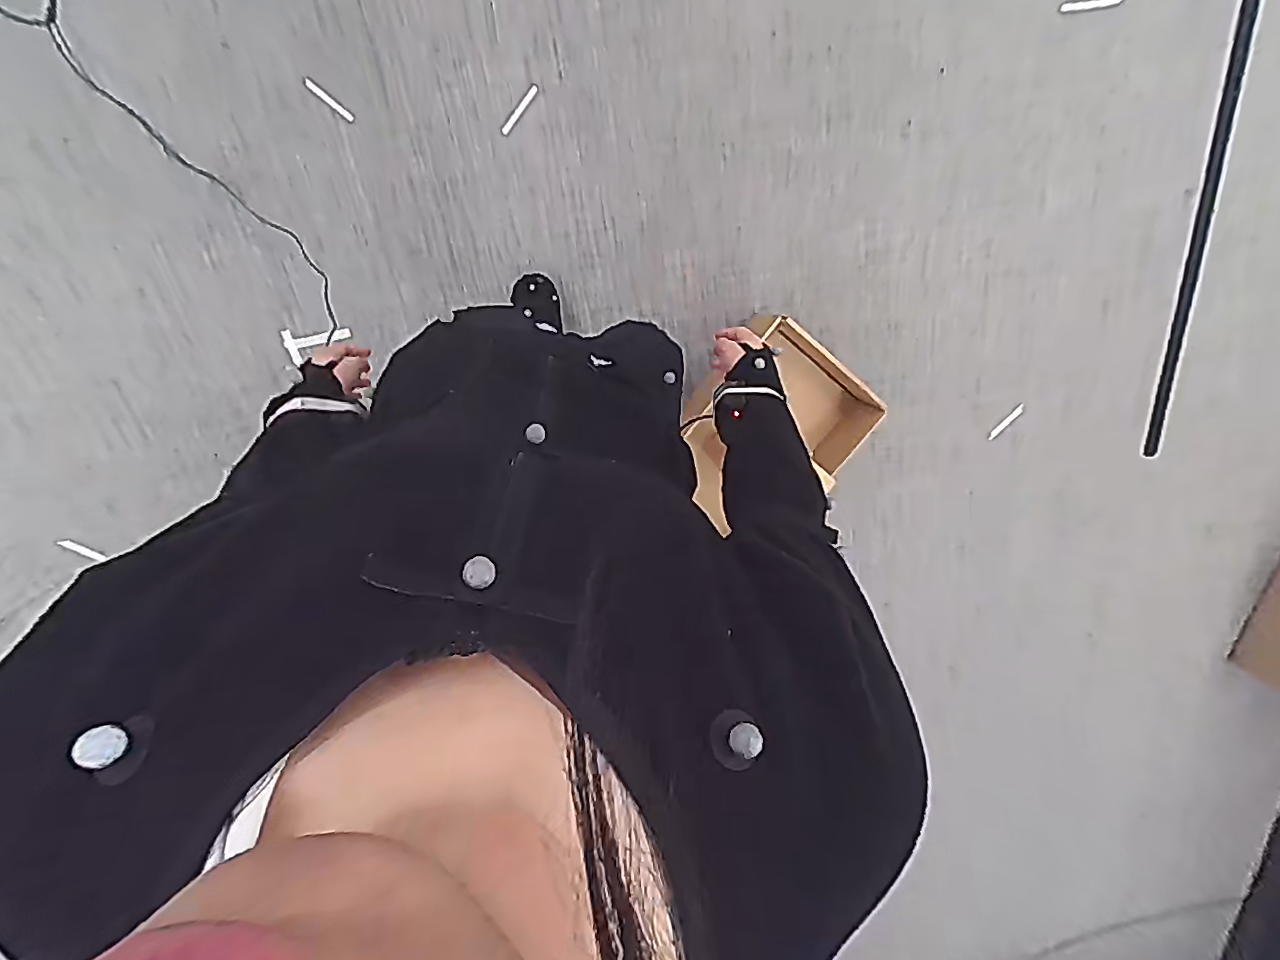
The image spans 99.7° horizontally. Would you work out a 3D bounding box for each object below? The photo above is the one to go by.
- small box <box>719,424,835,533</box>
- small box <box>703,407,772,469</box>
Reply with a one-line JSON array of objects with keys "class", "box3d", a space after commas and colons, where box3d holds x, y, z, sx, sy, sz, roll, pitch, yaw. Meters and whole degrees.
[{"class": "small box", "box3d": [0.319, -0.012, 1.288, 0.179, 0.176, 0.168, 36, 102, -19]}, {"class": "small box", "box3d": [0.296, -0.072, 1.437, 0.179, 0.176, 0.168, 37, 101, -20]}]
